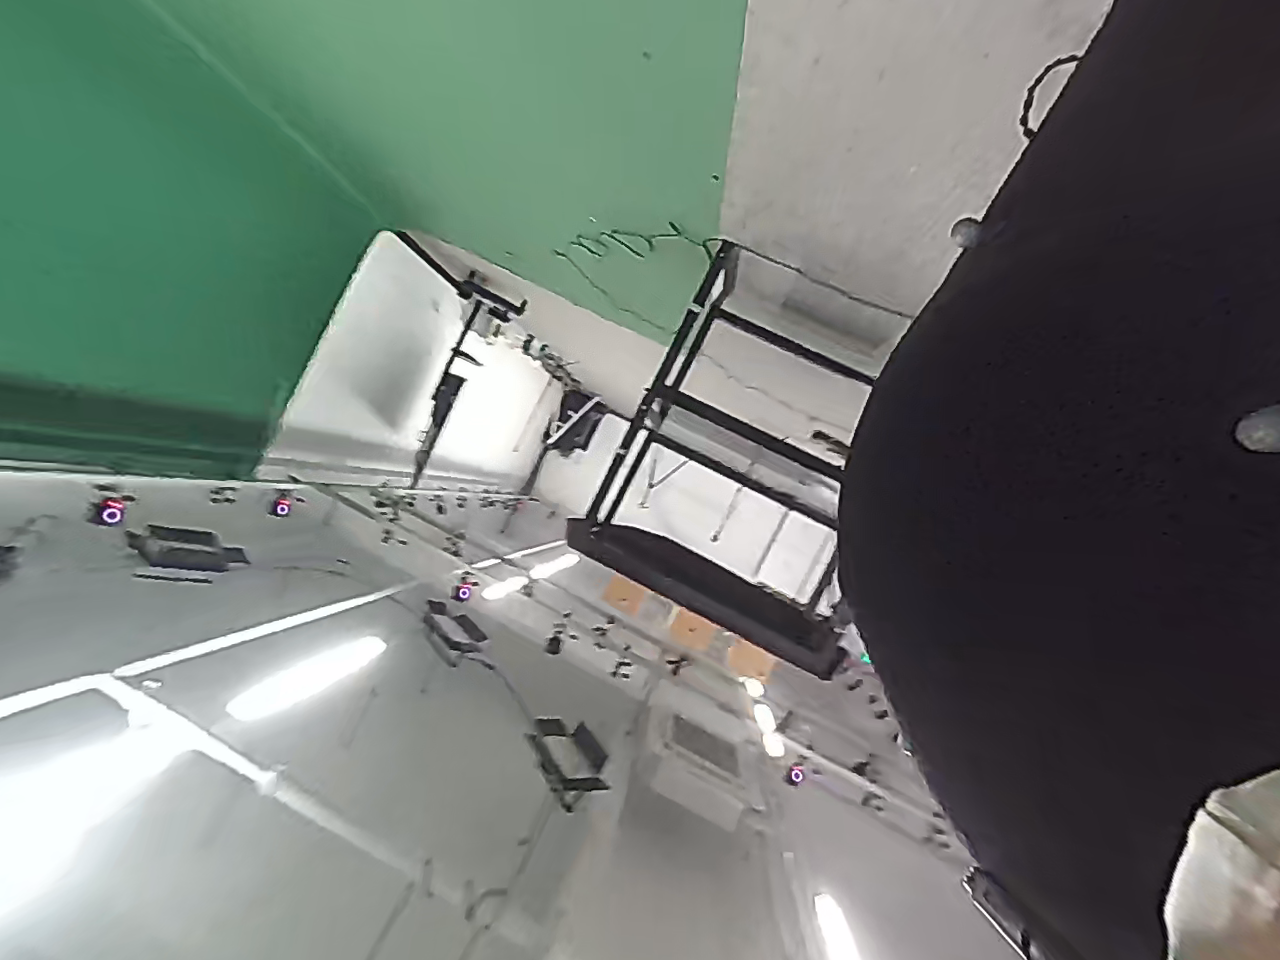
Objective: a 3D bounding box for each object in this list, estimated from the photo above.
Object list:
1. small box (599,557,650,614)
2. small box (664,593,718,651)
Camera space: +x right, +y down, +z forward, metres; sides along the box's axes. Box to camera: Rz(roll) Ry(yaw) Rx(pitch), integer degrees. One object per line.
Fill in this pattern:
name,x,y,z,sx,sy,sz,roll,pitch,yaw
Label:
small box,-0.063,0.468,2.422,0.179,0.176,0.168,27,-179,1
small box,0.221,0.618,2.374,0.179,0.176,0.168,27,-179,2
